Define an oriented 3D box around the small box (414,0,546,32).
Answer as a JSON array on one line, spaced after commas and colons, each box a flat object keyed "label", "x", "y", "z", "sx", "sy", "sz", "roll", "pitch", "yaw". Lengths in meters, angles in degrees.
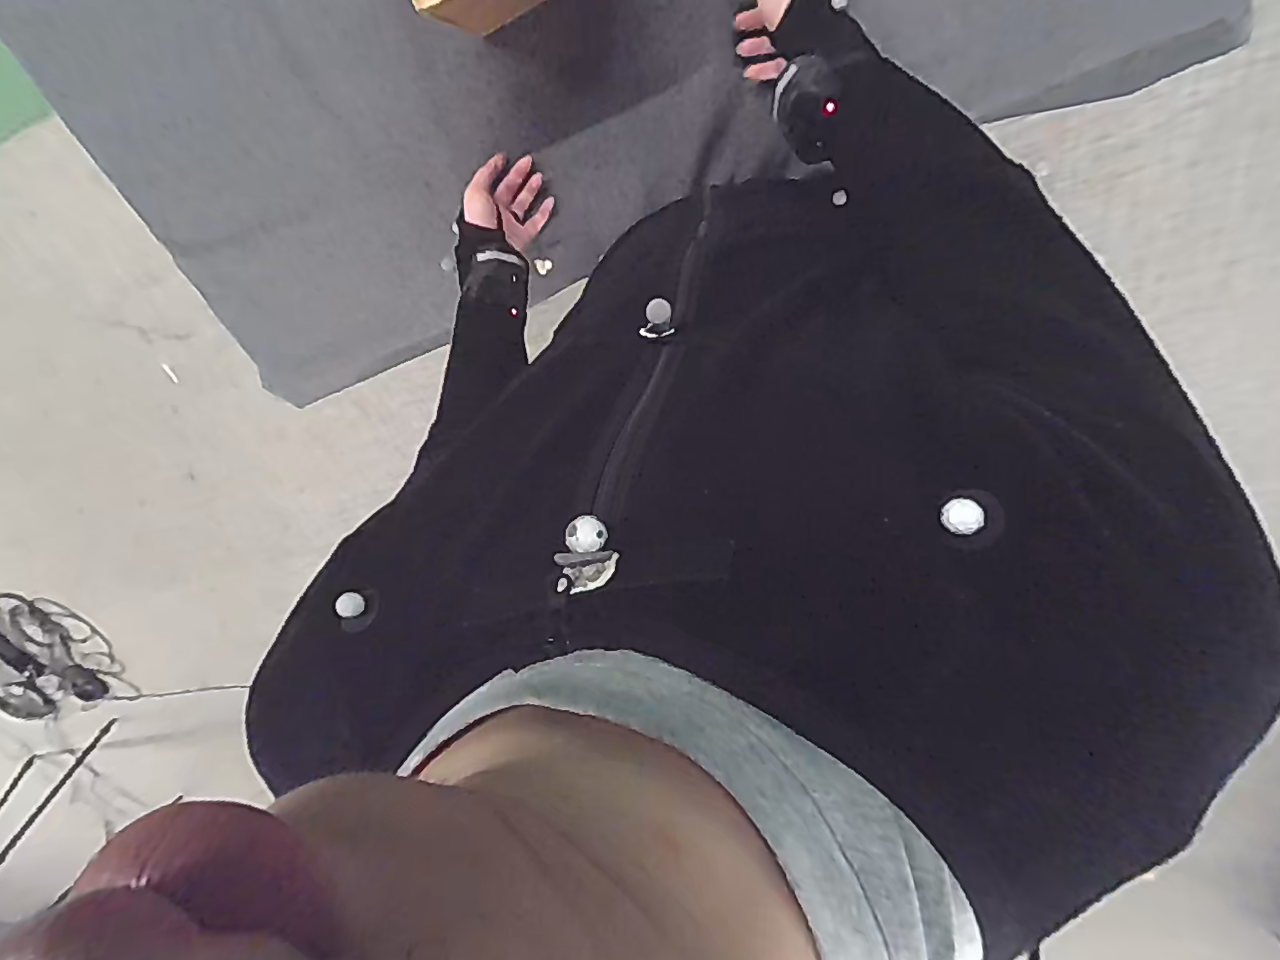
[{"label": "small box", "x": -0.124, "y": -0.513, "z": 0.448, "sx": 0.179, "sy": 0.176, "sz": 0.168, "roll": -17, "pitch": 121, "yaw": 15}]
